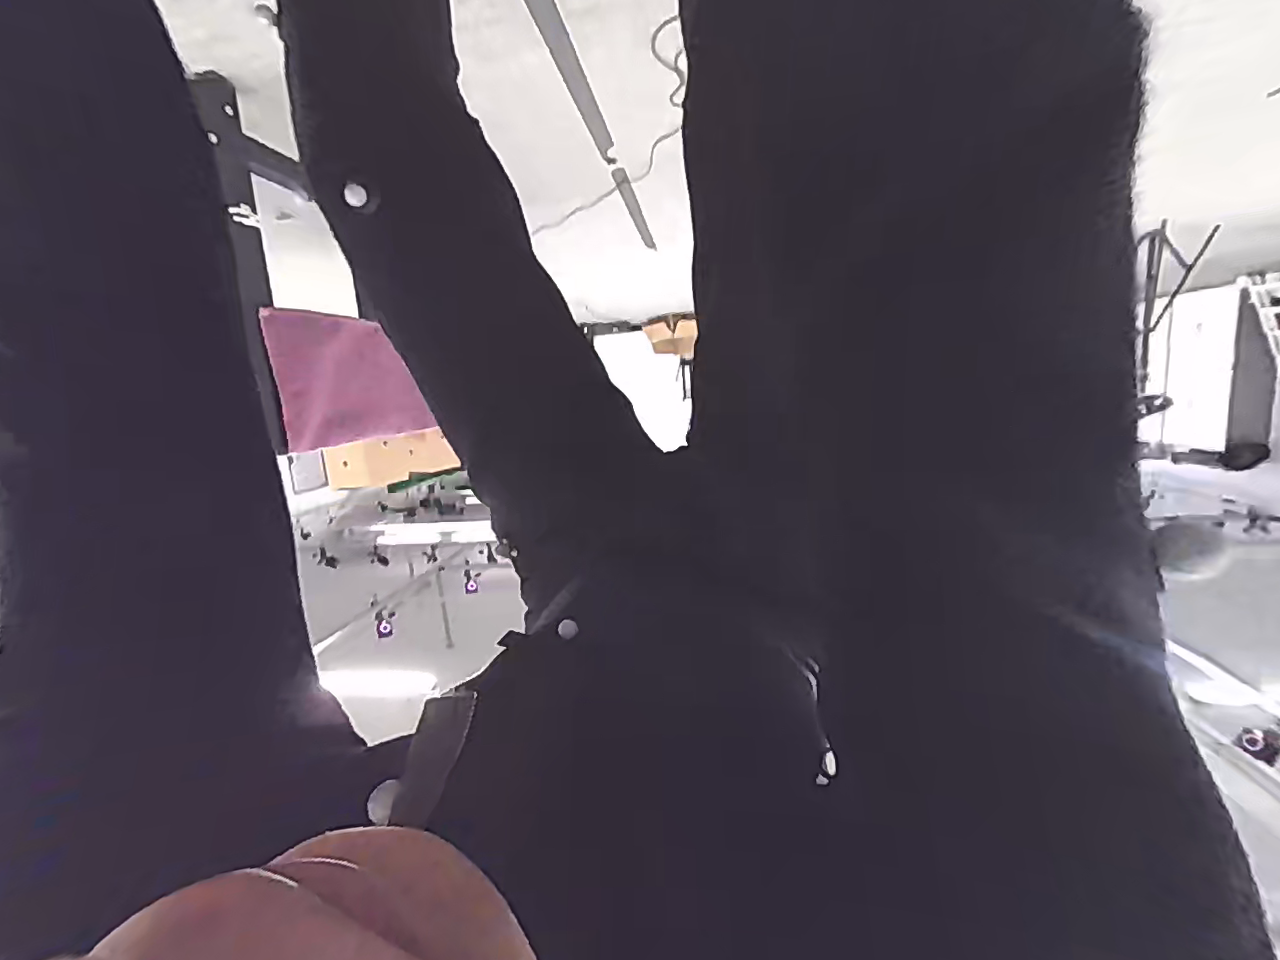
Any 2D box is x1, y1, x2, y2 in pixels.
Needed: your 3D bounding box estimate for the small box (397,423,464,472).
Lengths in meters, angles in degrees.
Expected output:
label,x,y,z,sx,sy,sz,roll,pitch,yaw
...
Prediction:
label,x,y,z,sx,sy,sz,roll,pitch,yaw
small box,-0.794,-0.126,2.043,0.179,0.176,0.168,-2,-170,23
